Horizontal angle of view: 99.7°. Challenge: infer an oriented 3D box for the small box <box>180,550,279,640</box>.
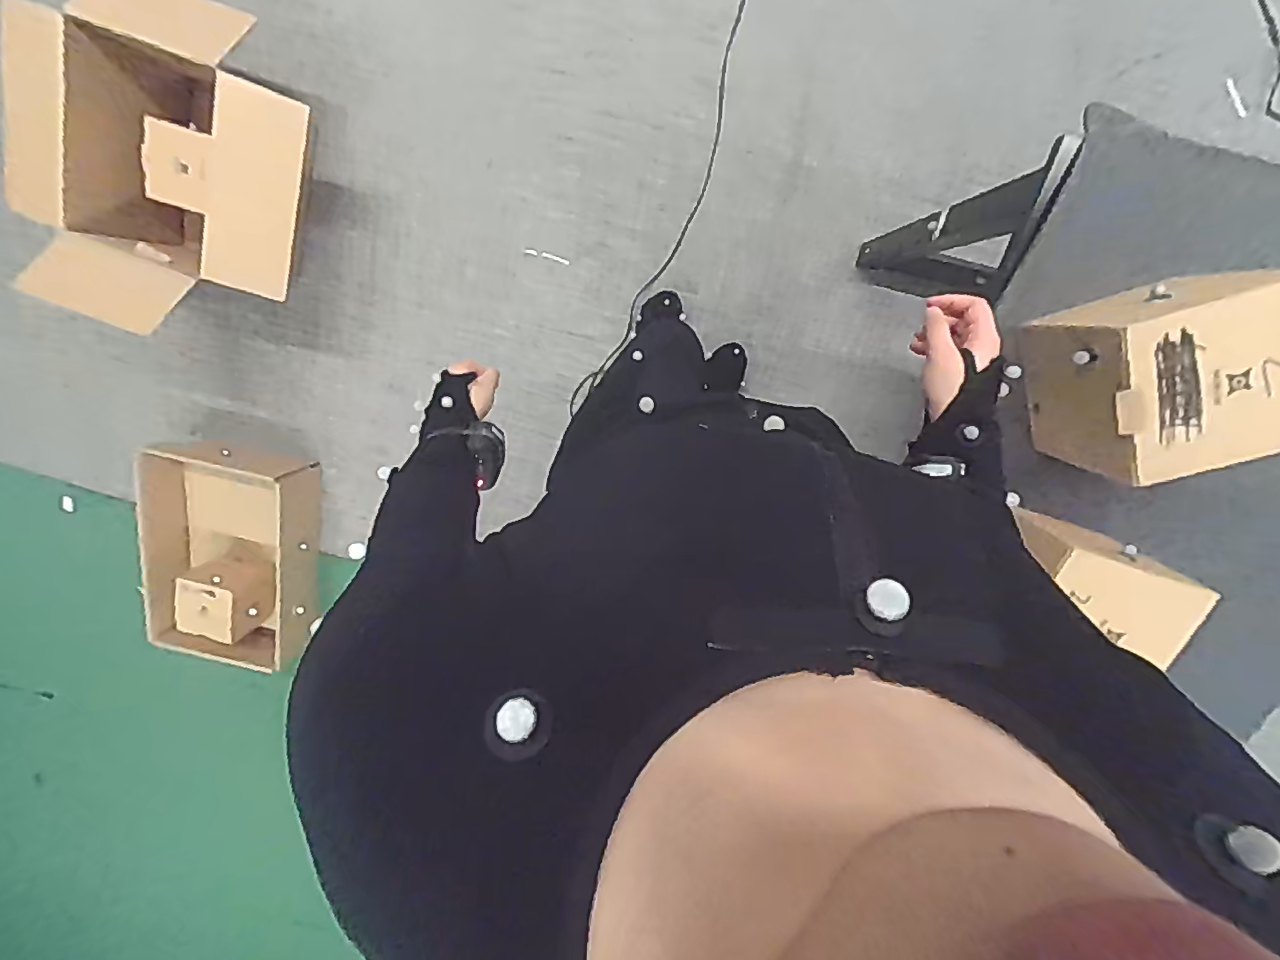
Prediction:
[{"bbox_3d":[-1.194,0.331,1.583,0.168,0.176,0.179,15,107,2],"label":"small box"}]
